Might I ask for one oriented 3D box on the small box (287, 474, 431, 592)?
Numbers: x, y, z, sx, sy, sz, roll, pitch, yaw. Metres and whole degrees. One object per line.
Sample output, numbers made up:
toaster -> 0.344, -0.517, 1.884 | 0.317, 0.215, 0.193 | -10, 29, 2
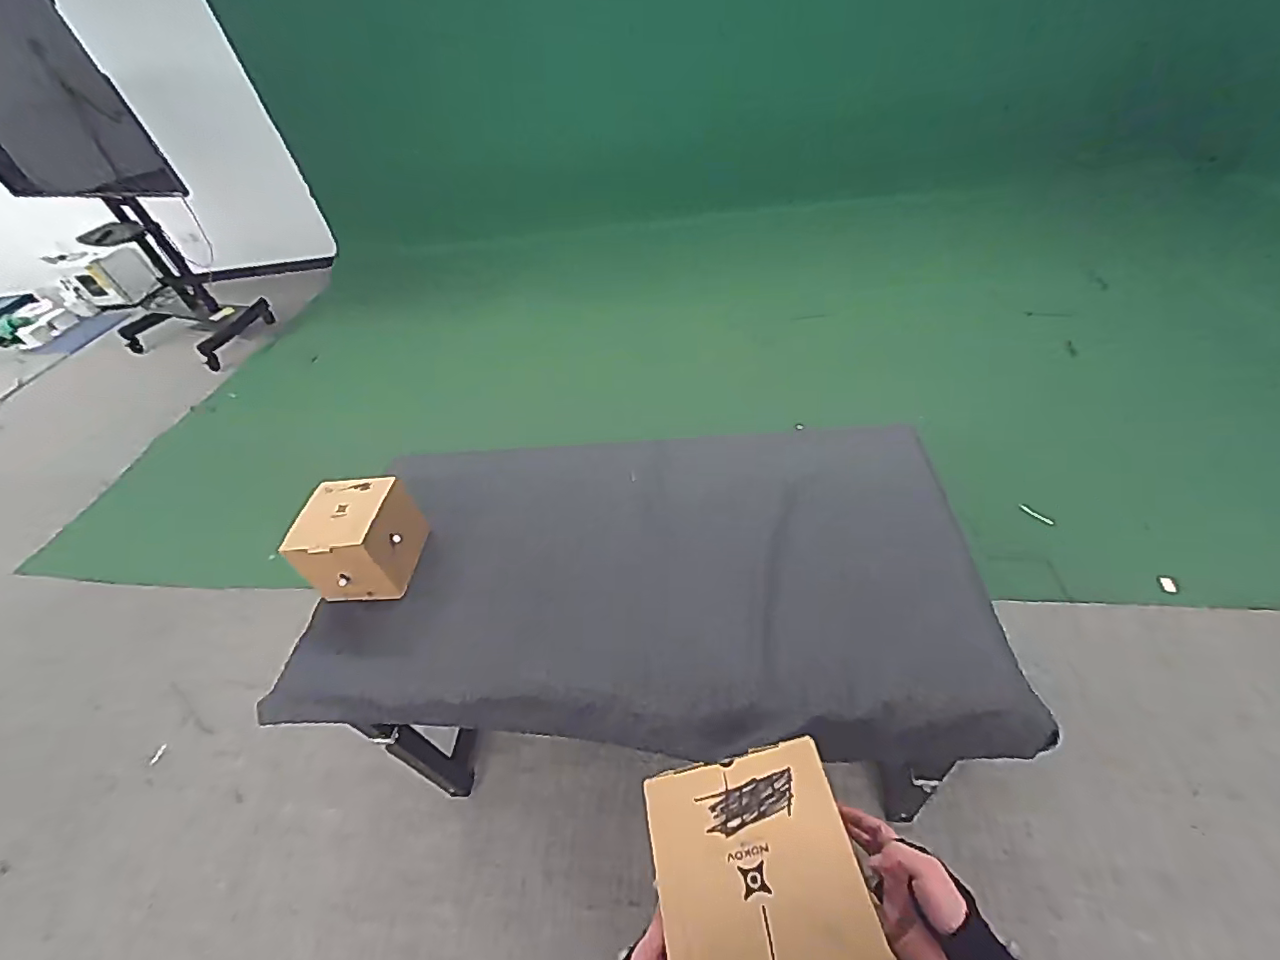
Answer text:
small box -> -0.543, 0.111, 1.077 | 0.168, 0.176, 0.179 | -3, 46, 7
